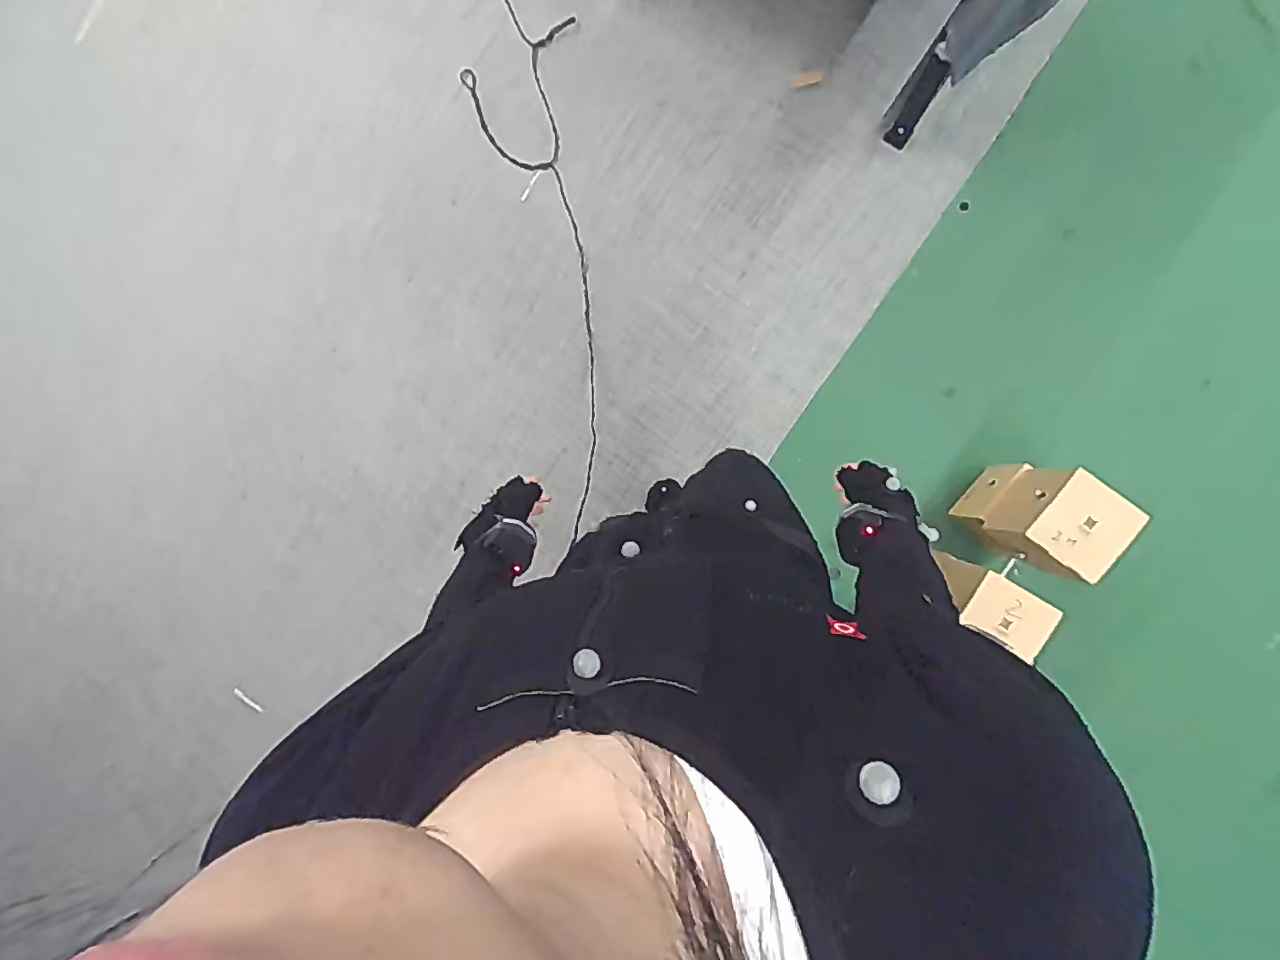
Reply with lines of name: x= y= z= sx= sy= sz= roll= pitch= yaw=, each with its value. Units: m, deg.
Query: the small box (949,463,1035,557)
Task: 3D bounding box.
small box: x=0.902 y=0.078 z=1.314 sx=0.179 sy=0.176 sz=0.168 roll=39 pitch=93 yaw=4

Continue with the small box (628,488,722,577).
small box: x=0.087 y=0.132 z=1.421 sx=0.179 sy=0.176 sz=0.168 roll=28 pitch=104 yaw=22

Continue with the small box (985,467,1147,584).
small box: x=0.887 y=0.090 z=1.149 sx=0.168 sy=0.176 sz=0.179 roll=39 pitch=93 yaw=4
